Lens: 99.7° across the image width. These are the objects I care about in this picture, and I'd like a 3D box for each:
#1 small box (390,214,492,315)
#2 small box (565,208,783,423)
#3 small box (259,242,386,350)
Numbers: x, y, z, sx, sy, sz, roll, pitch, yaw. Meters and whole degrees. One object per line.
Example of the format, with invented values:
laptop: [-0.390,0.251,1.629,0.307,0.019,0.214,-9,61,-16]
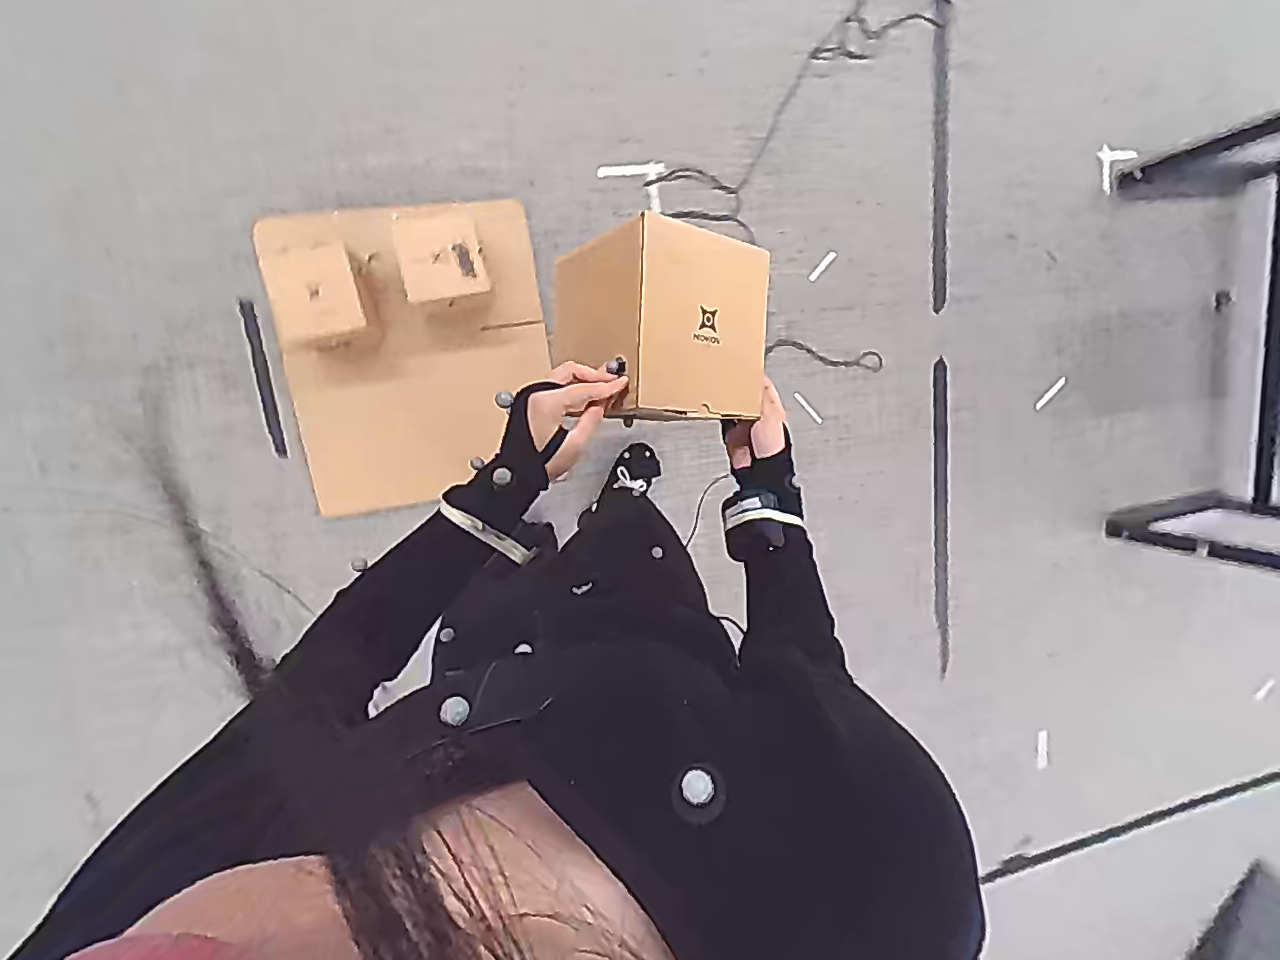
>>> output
small box: [-0.439,-0.480,1.223,0.179,0.176,0.168,-14,100,-10]
small box: [0.030,-0.154,0.577,0.168,0.176,0.179,0,95,-36]
small box: [-0.681,-0.394,1.181,0.168,0.176,0.179,-15,101,-9]
